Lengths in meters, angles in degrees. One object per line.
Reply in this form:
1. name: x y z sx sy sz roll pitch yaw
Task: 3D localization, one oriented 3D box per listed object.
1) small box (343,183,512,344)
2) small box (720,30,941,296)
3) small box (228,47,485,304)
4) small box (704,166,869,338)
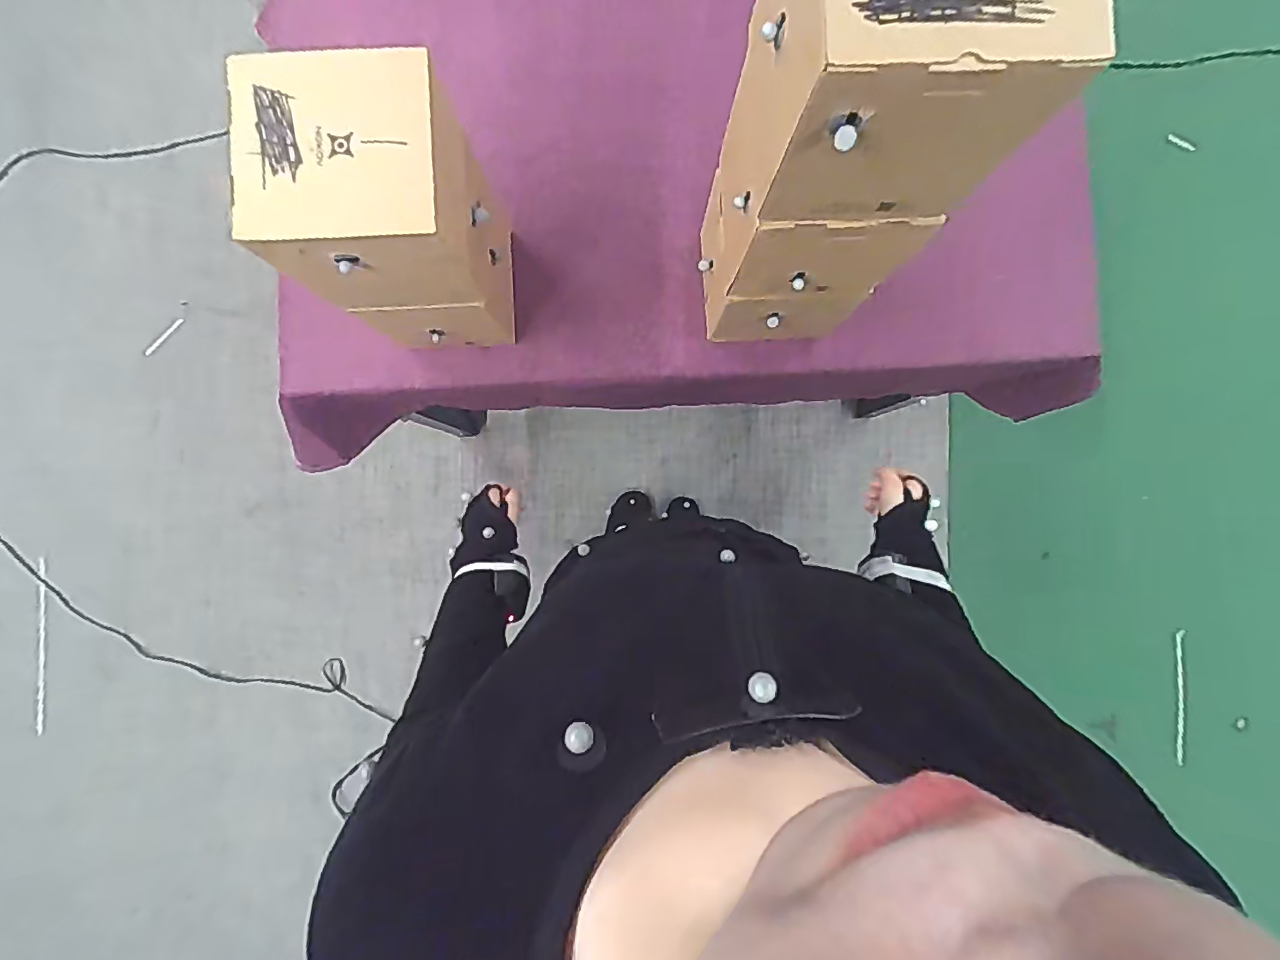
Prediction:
1. small box: -0.268 -0.283 0.710 0.168 0.176 0.179 -2 88 -1
2. small box: 0.177 -0.305 0.552 0.168 0.176 0.179 -2 89 -1
3. small box: -0.268 -0.287 0.546 0.179 0.176 0.168 -3 88 -1
4. small box: 0.179 -0.293 0.715 0.179 0.176 0.168 -3 88 0
